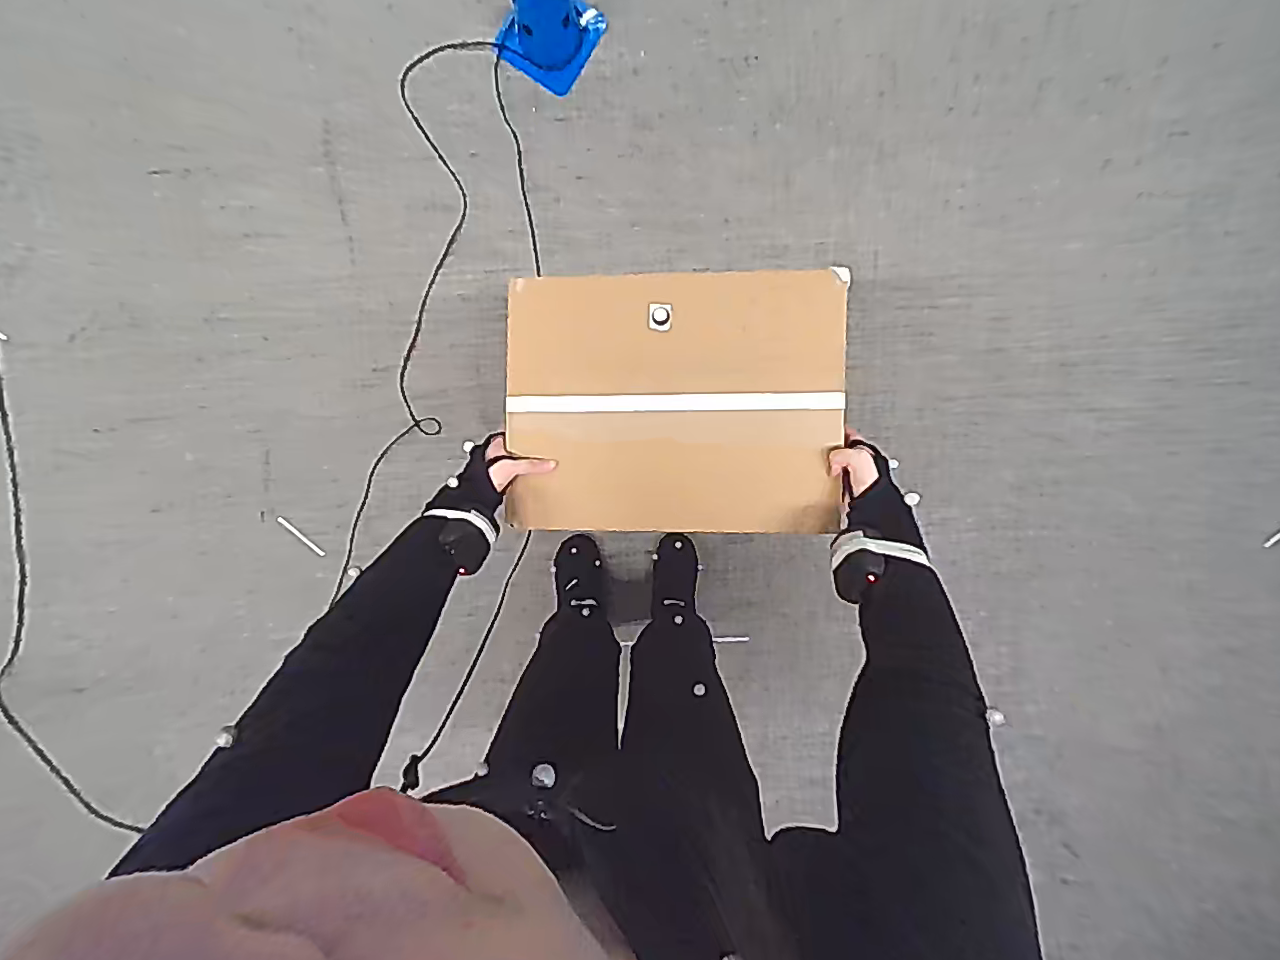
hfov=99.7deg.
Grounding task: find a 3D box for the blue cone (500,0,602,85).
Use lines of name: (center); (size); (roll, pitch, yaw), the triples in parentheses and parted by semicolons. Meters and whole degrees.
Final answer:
blue cone: (-0.196, -0.980, 1.025); (0.192, 0.380, 0.193); (30, 94, -3)
